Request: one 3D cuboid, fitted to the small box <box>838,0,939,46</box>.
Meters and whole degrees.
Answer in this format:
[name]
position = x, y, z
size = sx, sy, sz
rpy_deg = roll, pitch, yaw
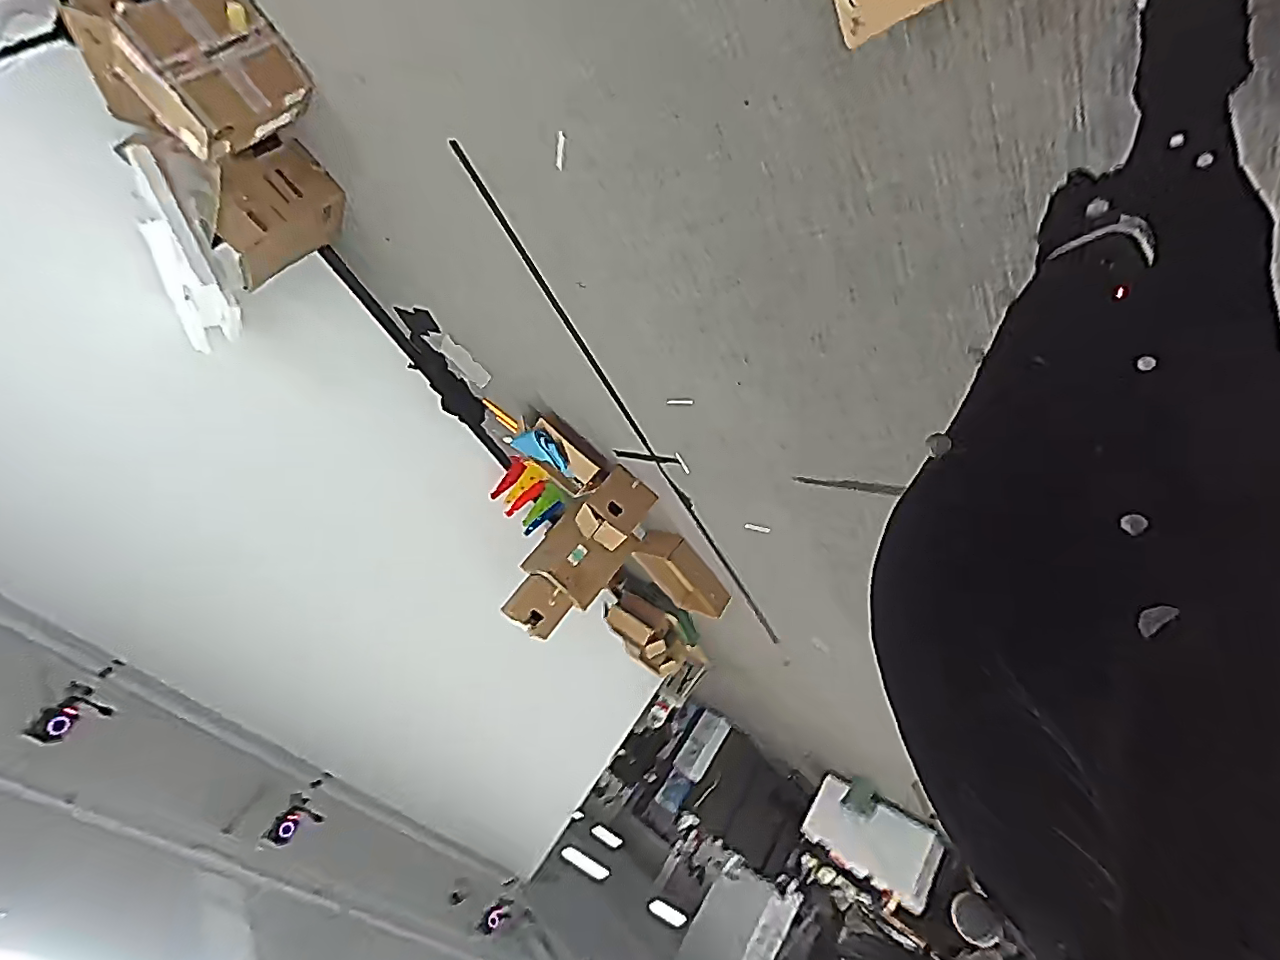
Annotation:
[small box]
position = 0.424, -0.846, 0.852
size = 0.179, 0.176, 0.168
rpy_deg = 9, 141, 50
